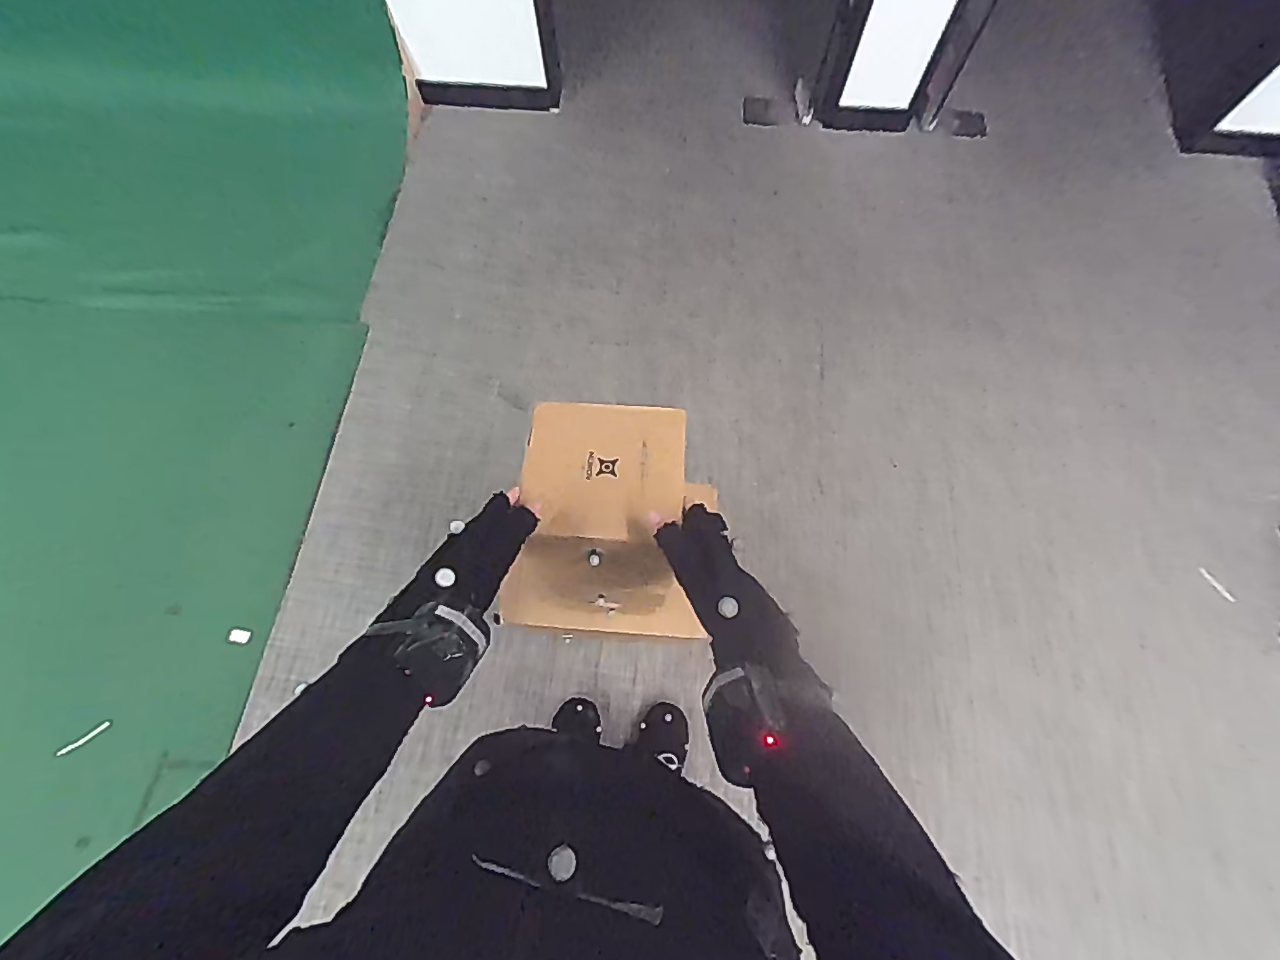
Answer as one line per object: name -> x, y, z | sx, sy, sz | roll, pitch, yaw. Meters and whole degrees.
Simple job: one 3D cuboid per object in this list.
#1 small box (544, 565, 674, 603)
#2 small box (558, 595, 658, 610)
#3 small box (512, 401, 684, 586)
small box -> -0.040, 0.093, 0.821 | 0.179, 0.176, 0.168 | 2, 71, 1
small box -> -0.046, 0.139, 0.979 | 0.168, 0.176, 0.179 | 3, 72, 2
small box -> -0.041, 0.023, 0.650 | 0.179, 0.176, 0.168 | 3, 62, 0
